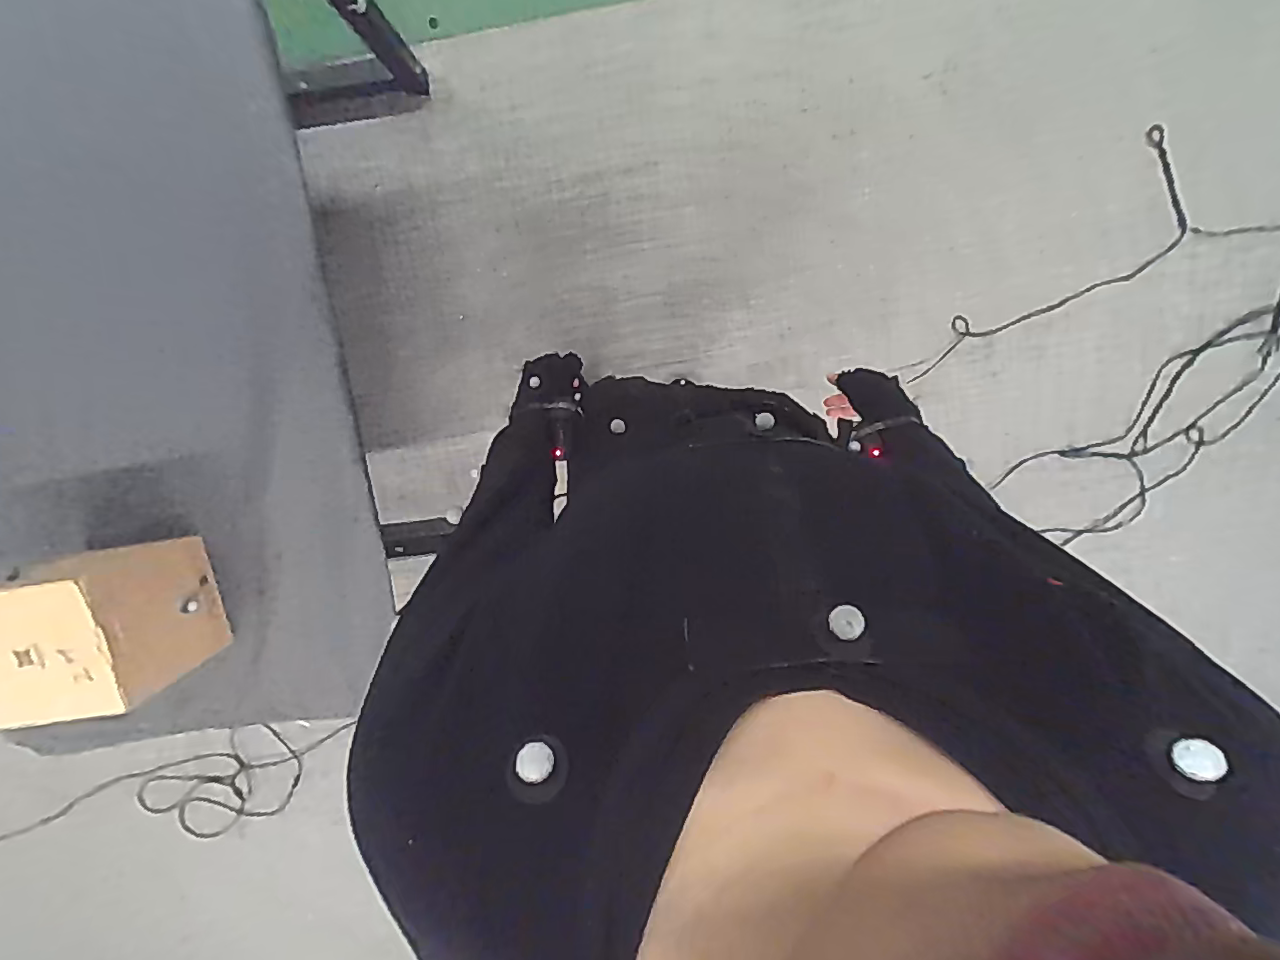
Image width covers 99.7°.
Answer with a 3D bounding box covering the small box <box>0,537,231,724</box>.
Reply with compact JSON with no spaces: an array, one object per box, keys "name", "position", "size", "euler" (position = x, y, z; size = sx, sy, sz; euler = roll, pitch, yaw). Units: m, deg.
[{"name":"small box","position":[-0.681,0.180,0.688],"size":[0.179,0.176,0.168],"euler":[-8,101,3]}]
